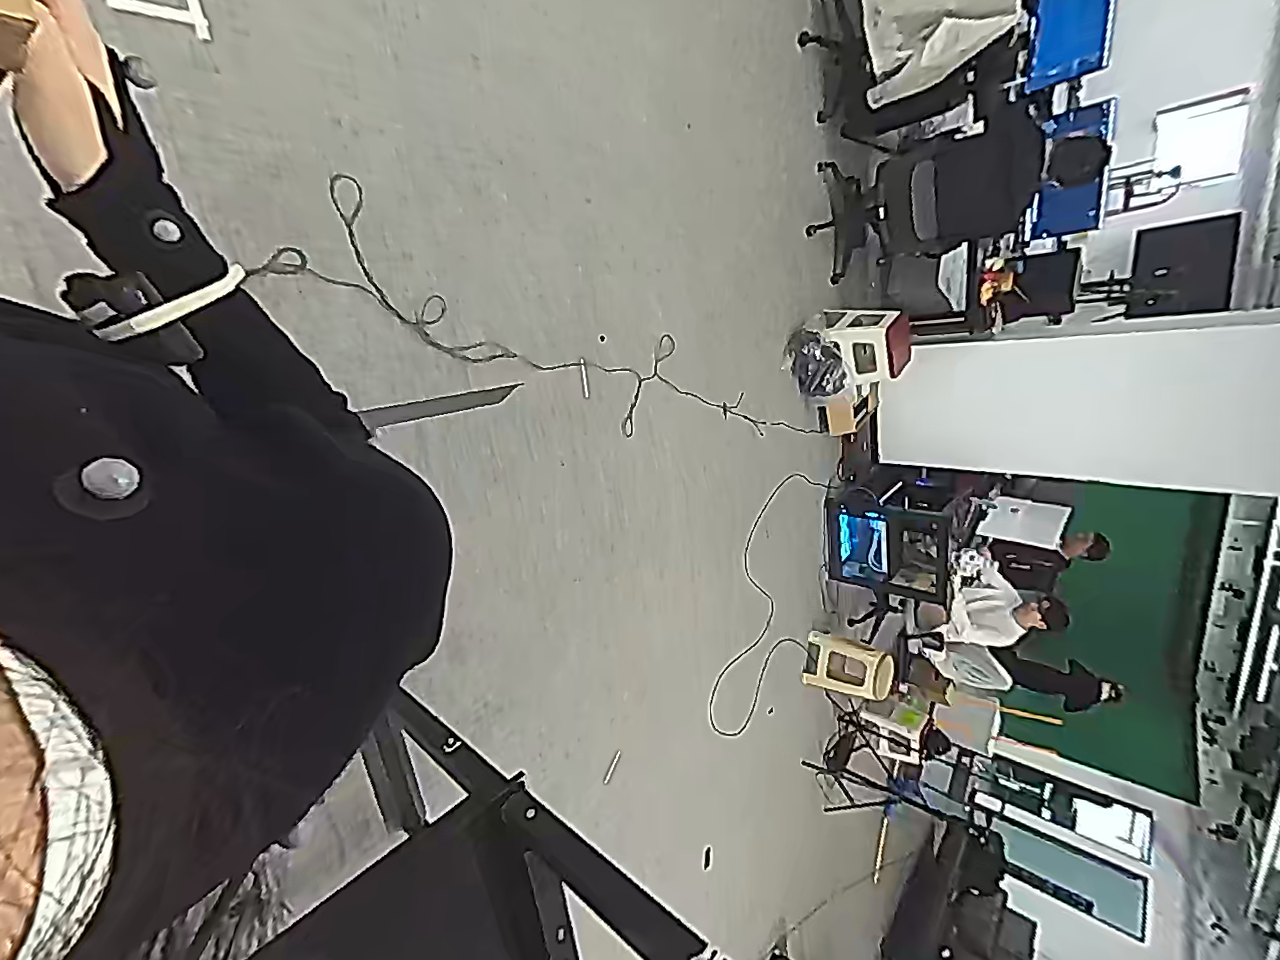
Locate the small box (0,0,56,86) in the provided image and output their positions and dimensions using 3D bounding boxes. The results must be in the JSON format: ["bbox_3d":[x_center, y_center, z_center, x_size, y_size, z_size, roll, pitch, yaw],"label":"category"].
[{"bbox_3d":[-0.358,-0.250,0.179,0.179,0.176,0.168,-24,121,-48],"label":"small box"}]
